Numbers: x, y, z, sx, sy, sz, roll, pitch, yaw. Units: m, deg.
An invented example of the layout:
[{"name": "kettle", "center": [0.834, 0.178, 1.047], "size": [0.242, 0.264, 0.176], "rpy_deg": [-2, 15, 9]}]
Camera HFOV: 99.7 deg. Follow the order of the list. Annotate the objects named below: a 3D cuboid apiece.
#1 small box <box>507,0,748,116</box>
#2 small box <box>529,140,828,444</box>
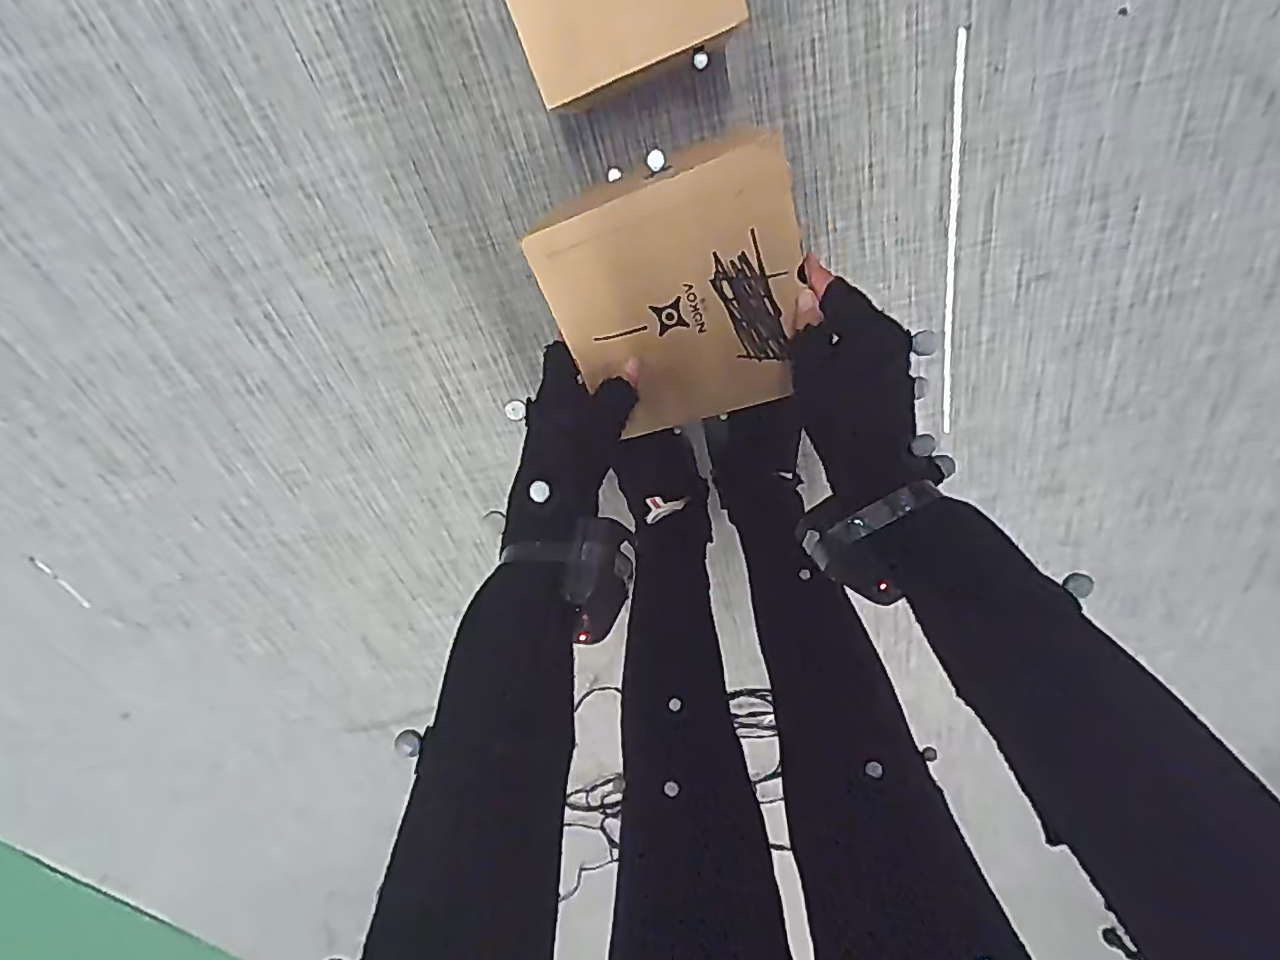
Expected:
[{"name": "small box", "center": [-0.020, -0.437, 0.464], "size": [0.179, 0.176, 0.168], "rpy_deg": [-17, 121, 11]}, {"name": "small box", "center": [0.034, -0.160, 0.446], "size": [0.179, 0.176, 0.168], "rpy_deg": [-16, 121, 13]}]
